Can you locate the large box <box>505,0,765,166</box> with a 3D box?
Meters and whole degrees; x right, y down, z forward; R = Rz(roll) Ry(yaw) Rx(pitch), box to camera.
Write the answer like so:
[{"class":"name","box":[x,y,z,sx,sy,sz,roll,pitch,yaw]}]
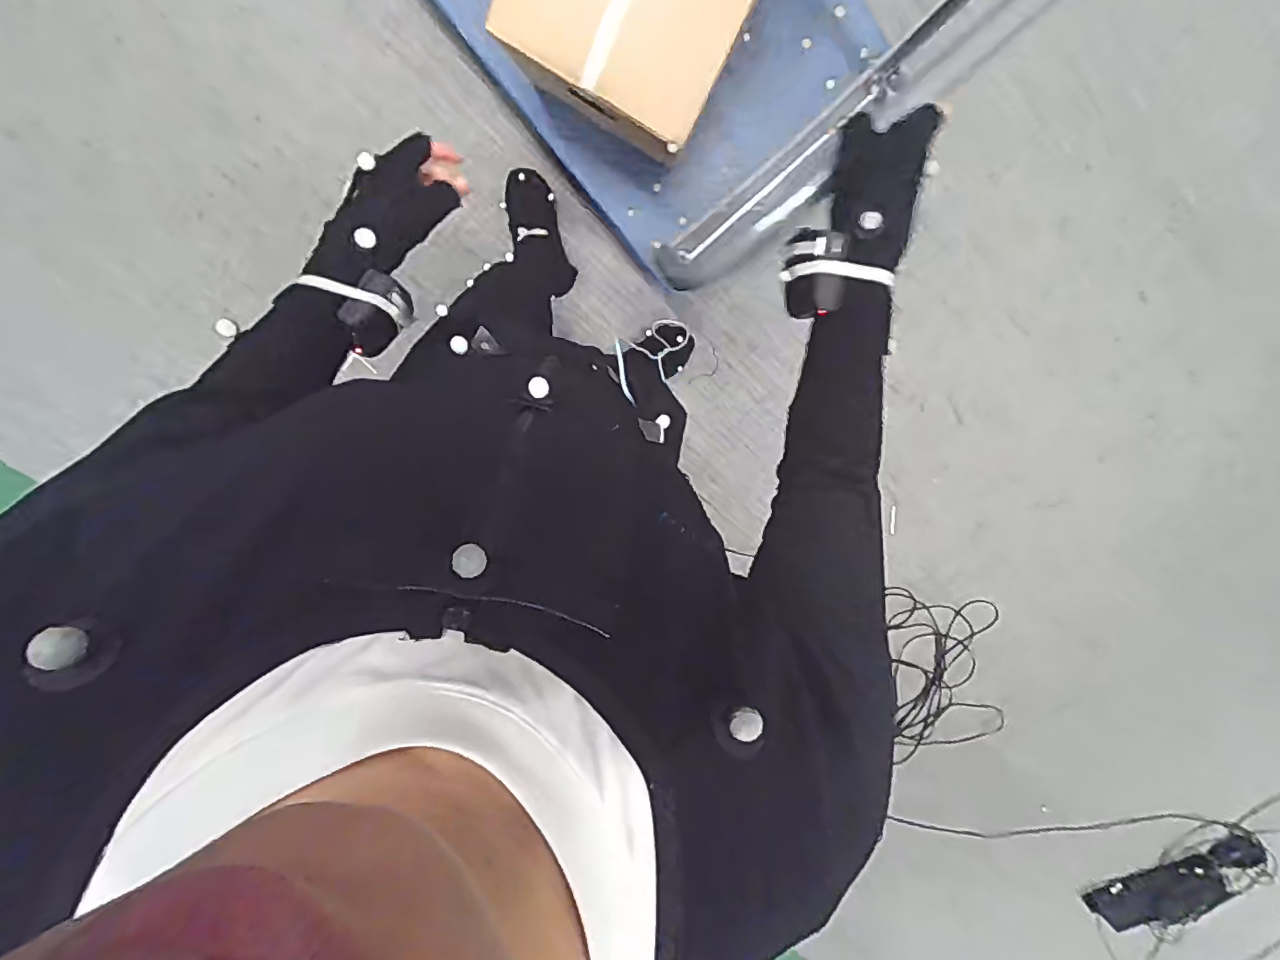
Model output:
[{"class":"large box","box":[0.034,-0.777,0.839,0.320,0.320,0.408,26,114,-9]}]
